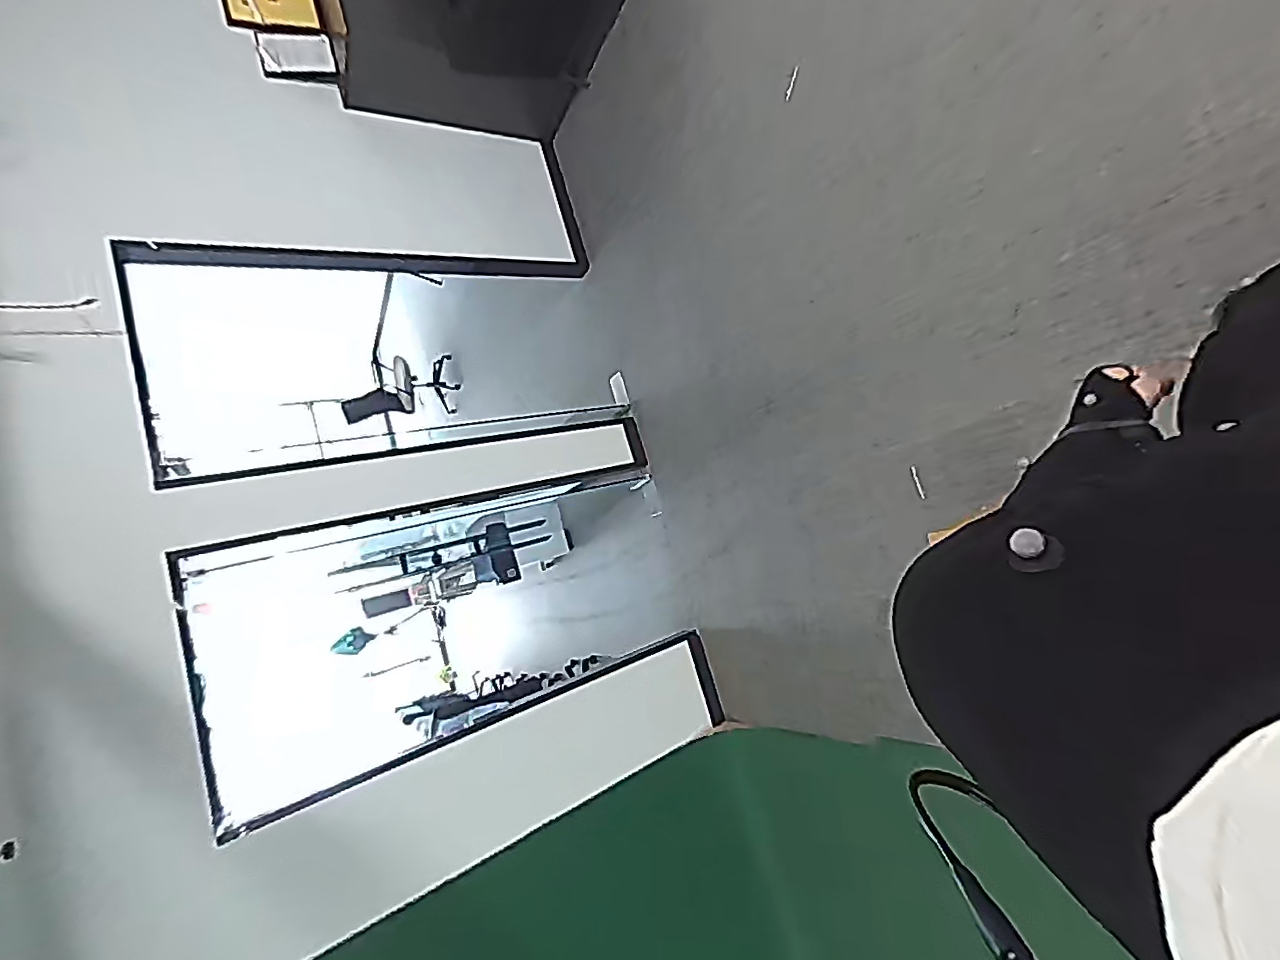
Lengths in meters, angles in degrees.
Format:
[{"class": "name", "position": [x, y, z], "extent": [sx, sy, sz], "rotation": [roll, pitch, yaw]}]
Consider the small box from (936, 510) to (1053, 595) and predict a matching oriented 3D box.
[{"class": "small box", "position": [0.887, 0.179, 1.345], "extent": [0.179, 0.176, 0.168], "rotation": [-26, 77, 57]}]
